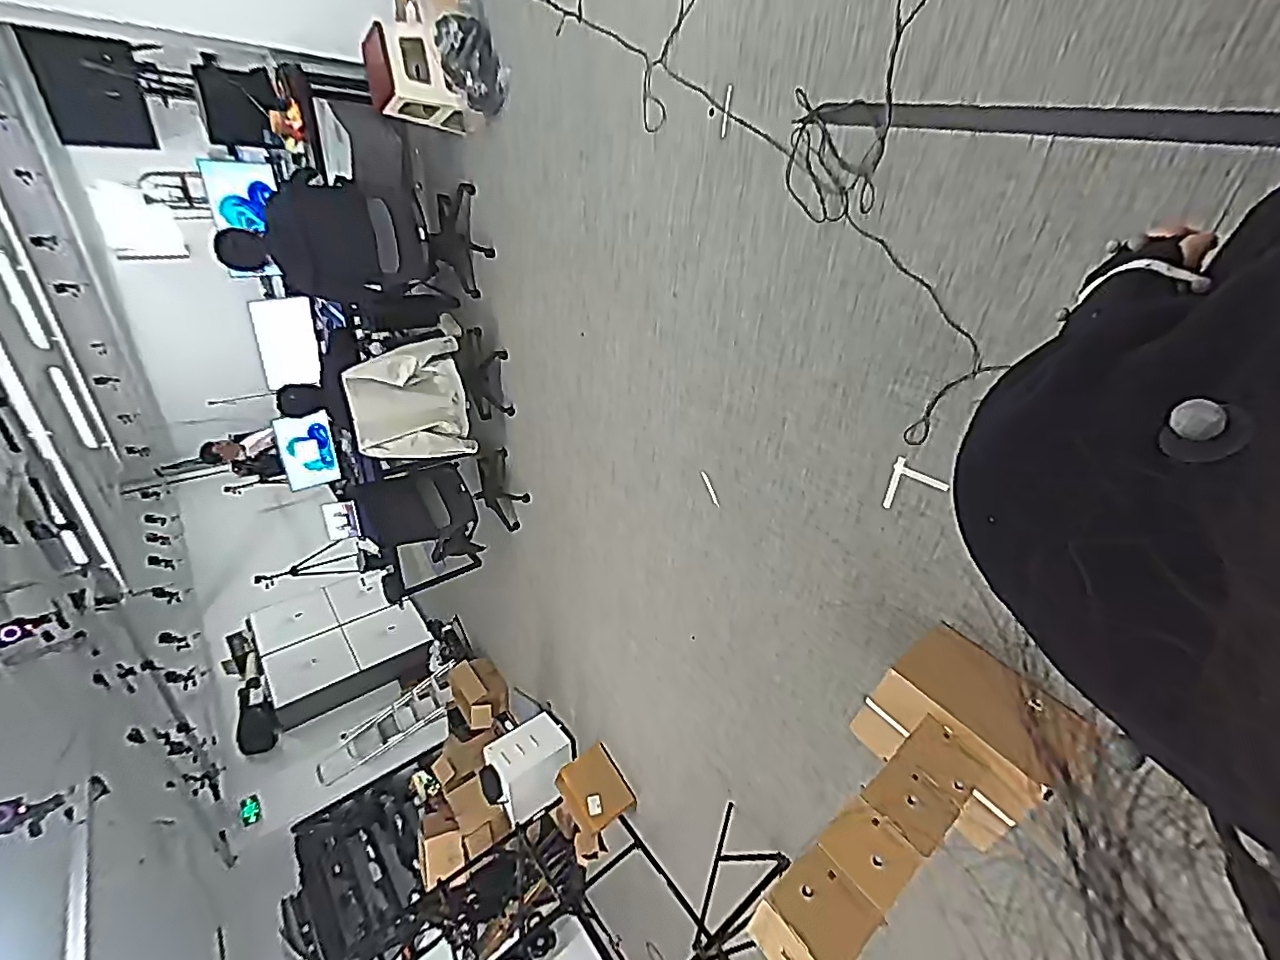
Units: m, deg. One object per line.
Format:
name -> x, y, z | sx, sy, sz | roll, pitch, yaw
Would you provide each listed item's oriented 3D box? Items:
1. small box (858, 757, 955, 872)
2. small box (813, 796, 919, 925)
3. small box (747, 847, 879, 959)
small box -> 0.594, 0.788, 1.255 | 0.168, 0.176, 0.179 | 40, 134, 36
small box -> 0.467, 0.829, 1.161 | 0.168, 0.176, 0.179 | 37, 134, 37
small box -> 0.342, 0.879, 1.070 | 0.168, 0.176, 0.179 | 38, 136, 38
